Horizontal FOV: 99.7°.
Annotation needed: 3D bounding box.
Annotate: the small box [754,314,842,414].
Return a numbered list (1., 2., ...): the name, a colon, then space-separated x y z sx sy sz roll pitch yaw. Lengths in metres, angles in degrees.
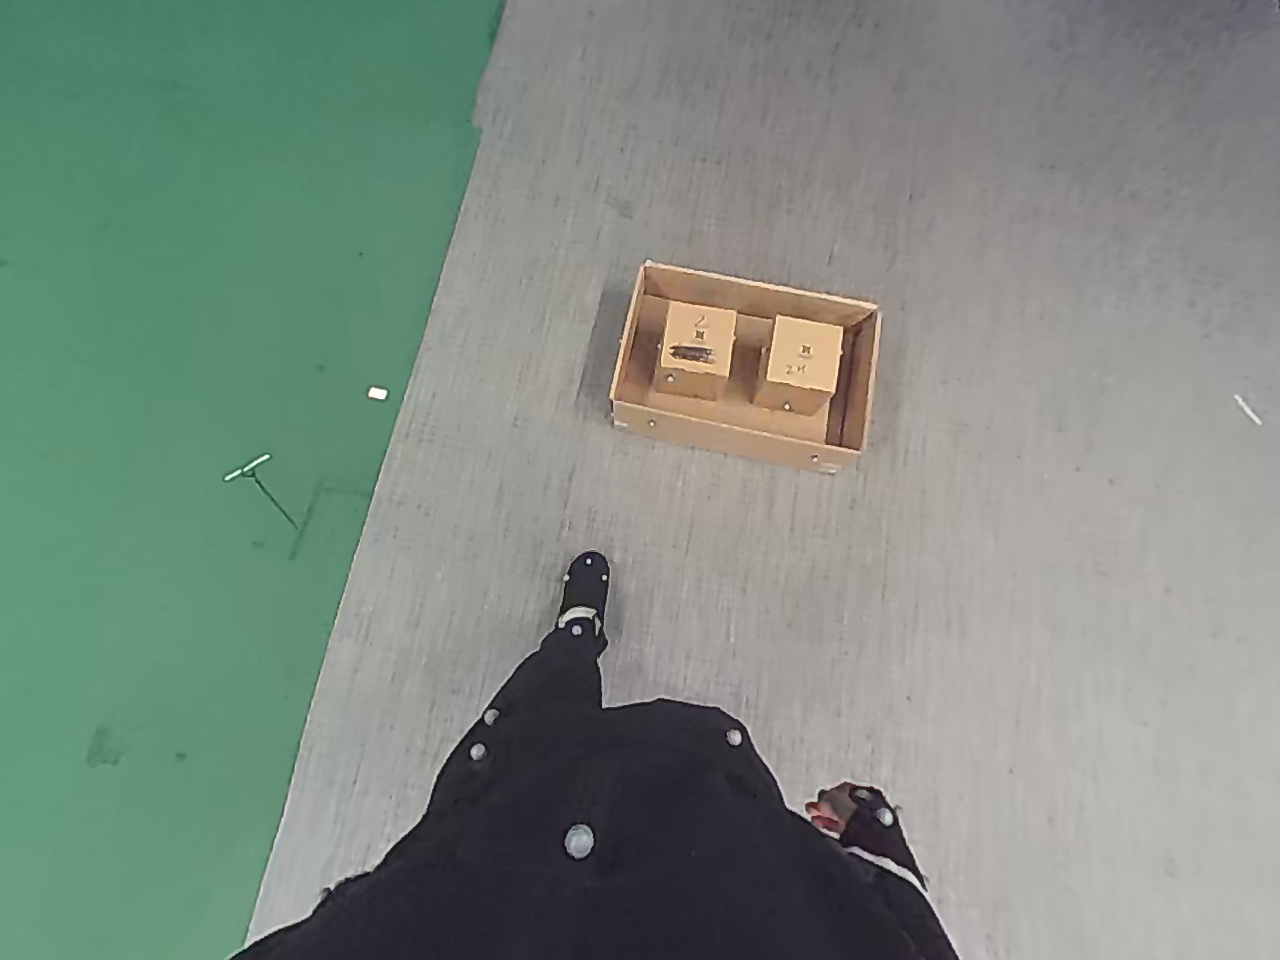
1. small box: 0.392 -0.287 1.365 0.168 0.176 0.179 12 78 4
